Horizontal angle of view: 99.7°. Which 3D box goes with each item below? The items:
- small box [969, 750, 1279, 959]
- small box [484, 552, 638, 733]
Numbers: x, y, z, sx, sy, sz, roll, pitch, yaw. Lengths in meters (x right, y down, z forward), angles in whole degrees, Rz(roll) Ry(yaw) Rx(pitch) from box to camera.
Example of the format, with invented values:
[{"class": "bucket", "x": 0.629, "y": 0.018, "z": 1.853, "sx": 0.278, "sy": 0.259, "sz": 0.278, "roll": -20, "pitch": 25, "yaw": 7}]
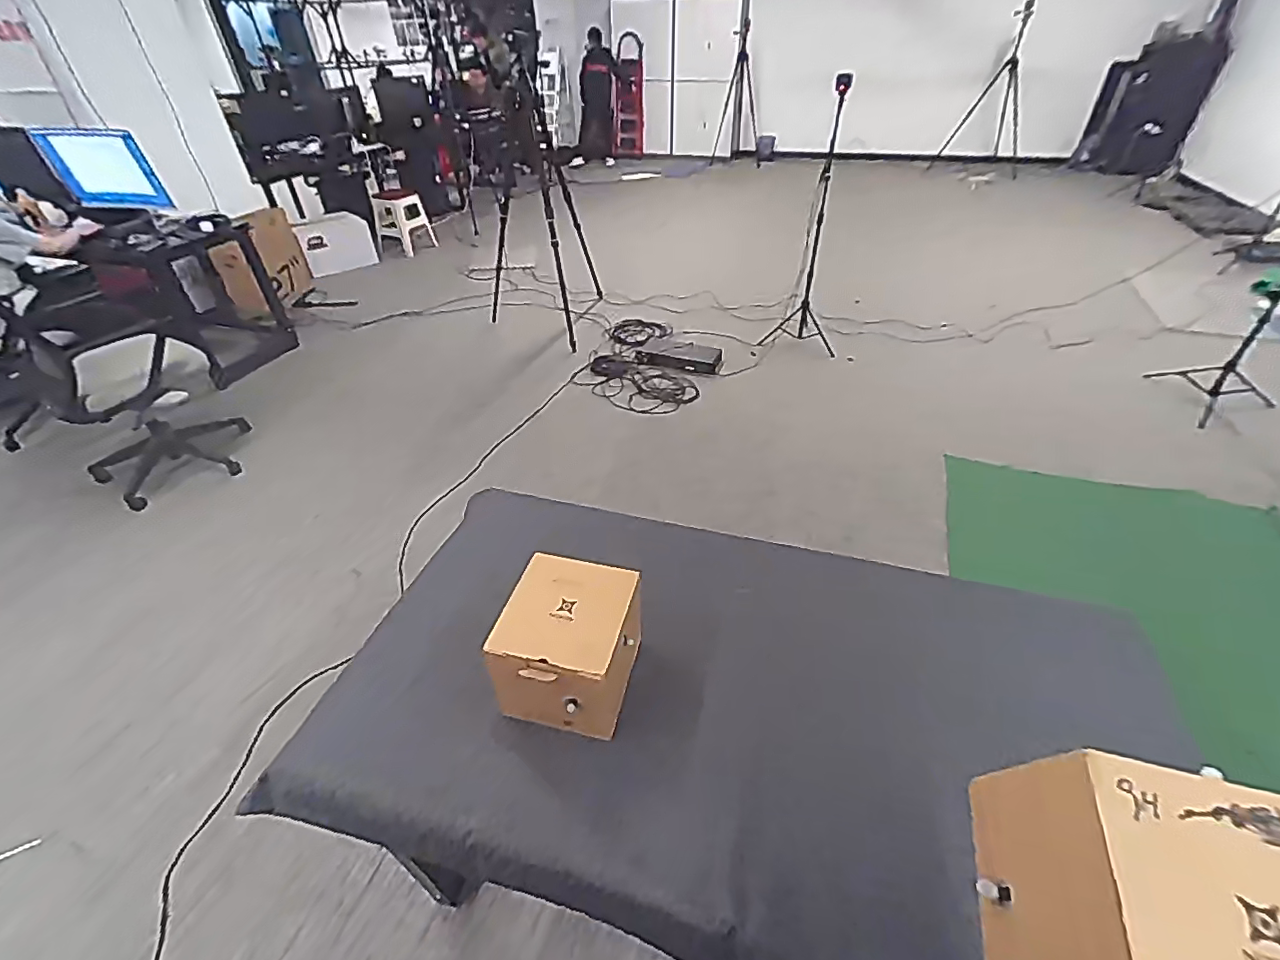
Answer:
[{"class": "small box", "x": 0.364, "y": 0.318, "z": 0.385, "sx": 0.168, "sy": 0.176, "sz": 0.179, "roll": 12, "pitch": 56, "yaw": 8}, {"class": "small box", "x": -0.100, "y": 0.235, "z": 0.785, "sx": 0.168, "sy": 0.176, "sz": 0.179, "roll": 10, "pitch": 40, "yaw": 11}]
